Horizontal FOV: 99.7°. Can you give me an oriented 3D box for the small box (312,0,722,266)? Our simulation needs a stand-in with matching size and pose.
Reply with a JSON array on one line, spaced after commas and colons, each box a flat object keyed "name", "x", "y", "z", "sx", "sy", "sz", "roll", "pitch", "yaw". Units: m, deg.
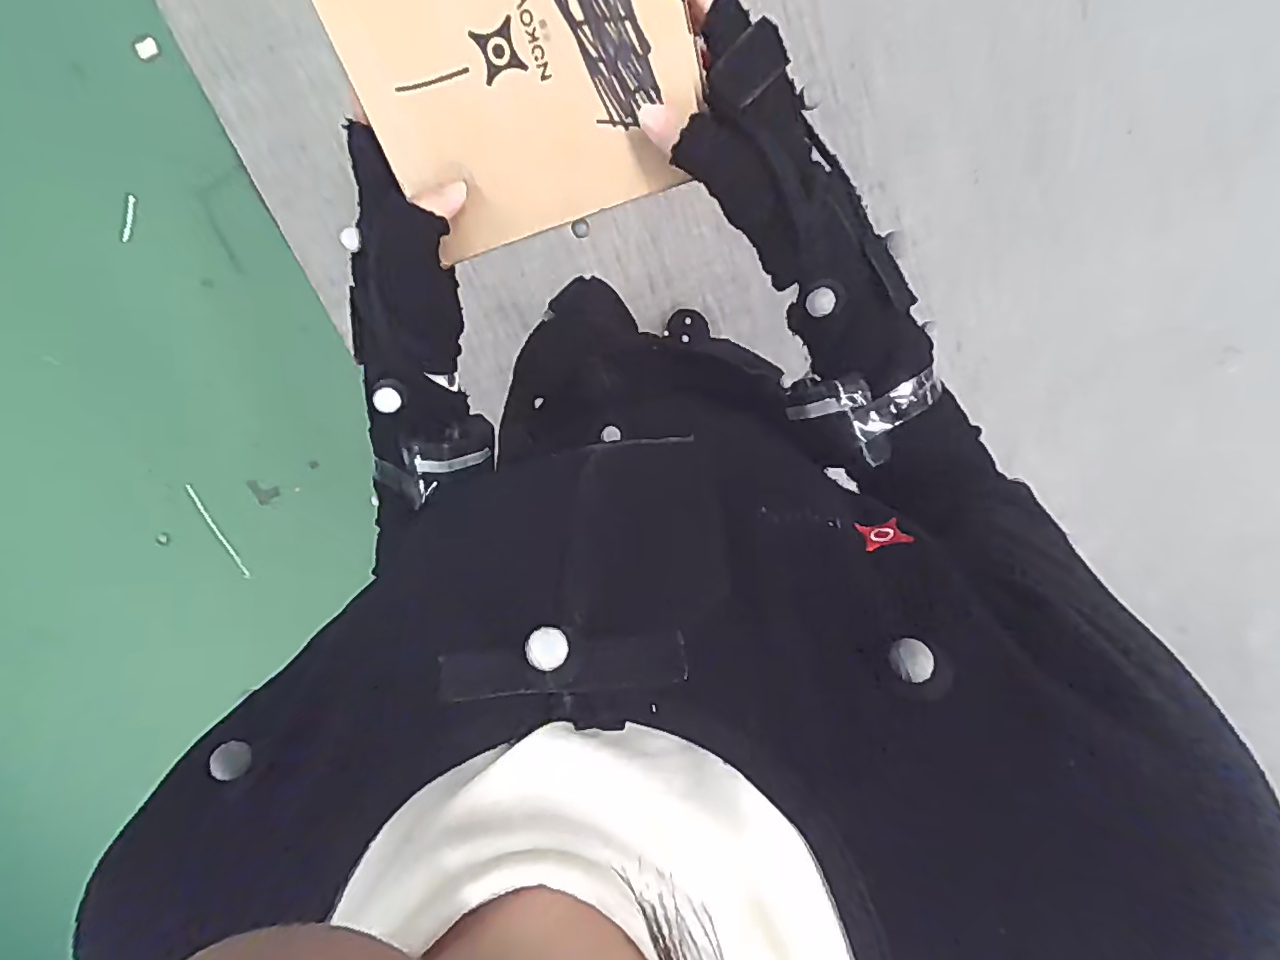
[{"name": "small box", "x": -0.063, "y": -0.262, "z": 0.344, "sx": 0.179, "sy": 0.176, "sz": 0.168, "roll": -18, "pitch": 120, "yaw": 10}]
